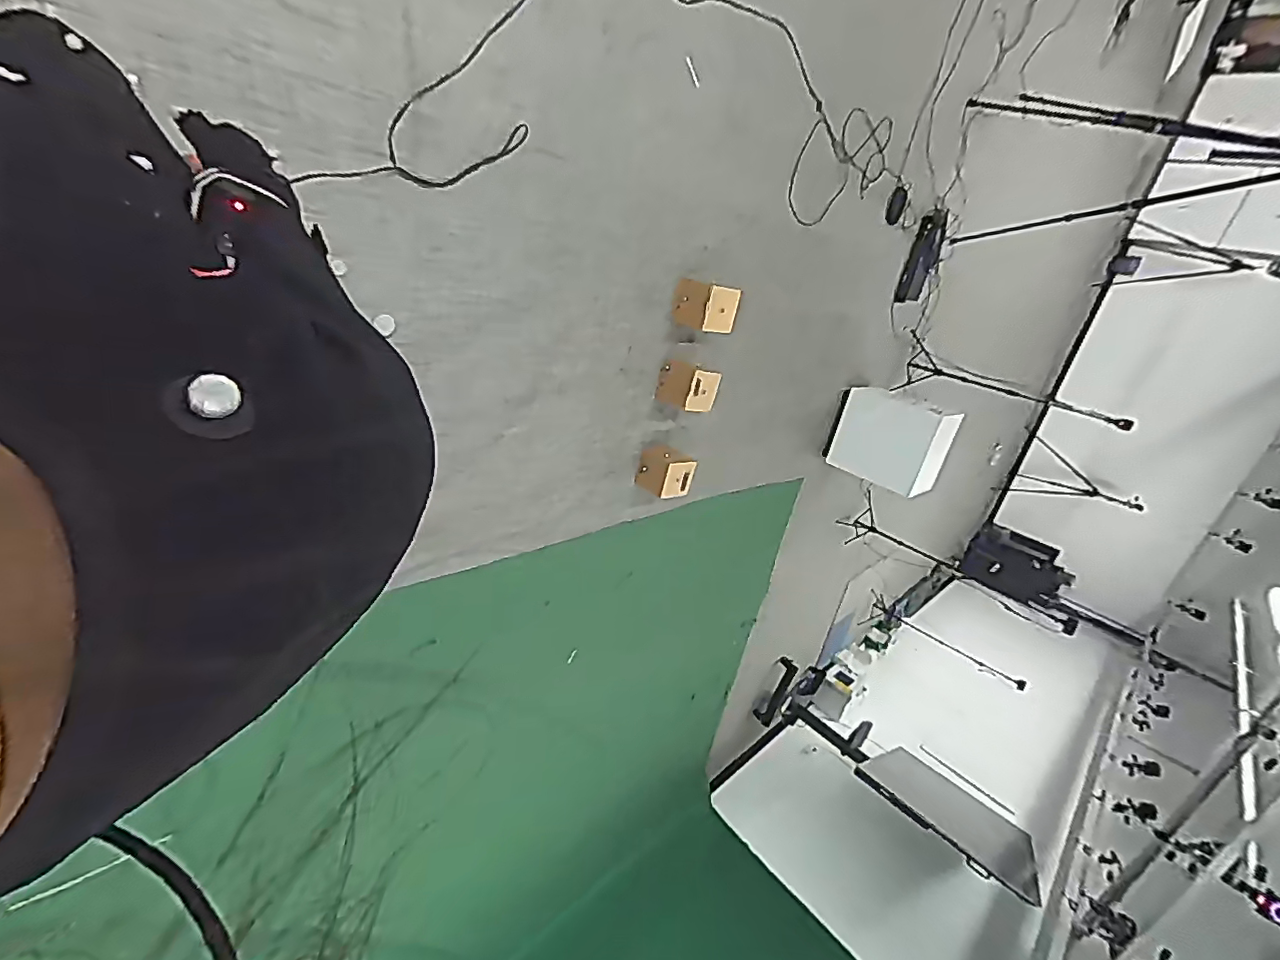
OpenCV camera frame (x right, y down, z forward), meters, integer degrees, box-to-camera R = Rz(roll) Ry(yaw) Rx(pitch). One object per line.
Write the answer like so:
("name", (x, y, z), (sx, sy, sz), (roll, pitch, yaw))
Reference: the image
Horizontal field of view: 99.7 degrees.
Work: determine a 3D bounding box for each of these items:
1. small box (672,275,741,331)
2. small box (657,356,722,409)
("small box", (0.254, -0.678, 2.068), (0.179, 0.176, 0.168), (-11, 122, -42))
("small box", (0.197, -0.396, 2.196), (0.179, 0.176, 0.168), (-4, 118, -47))
